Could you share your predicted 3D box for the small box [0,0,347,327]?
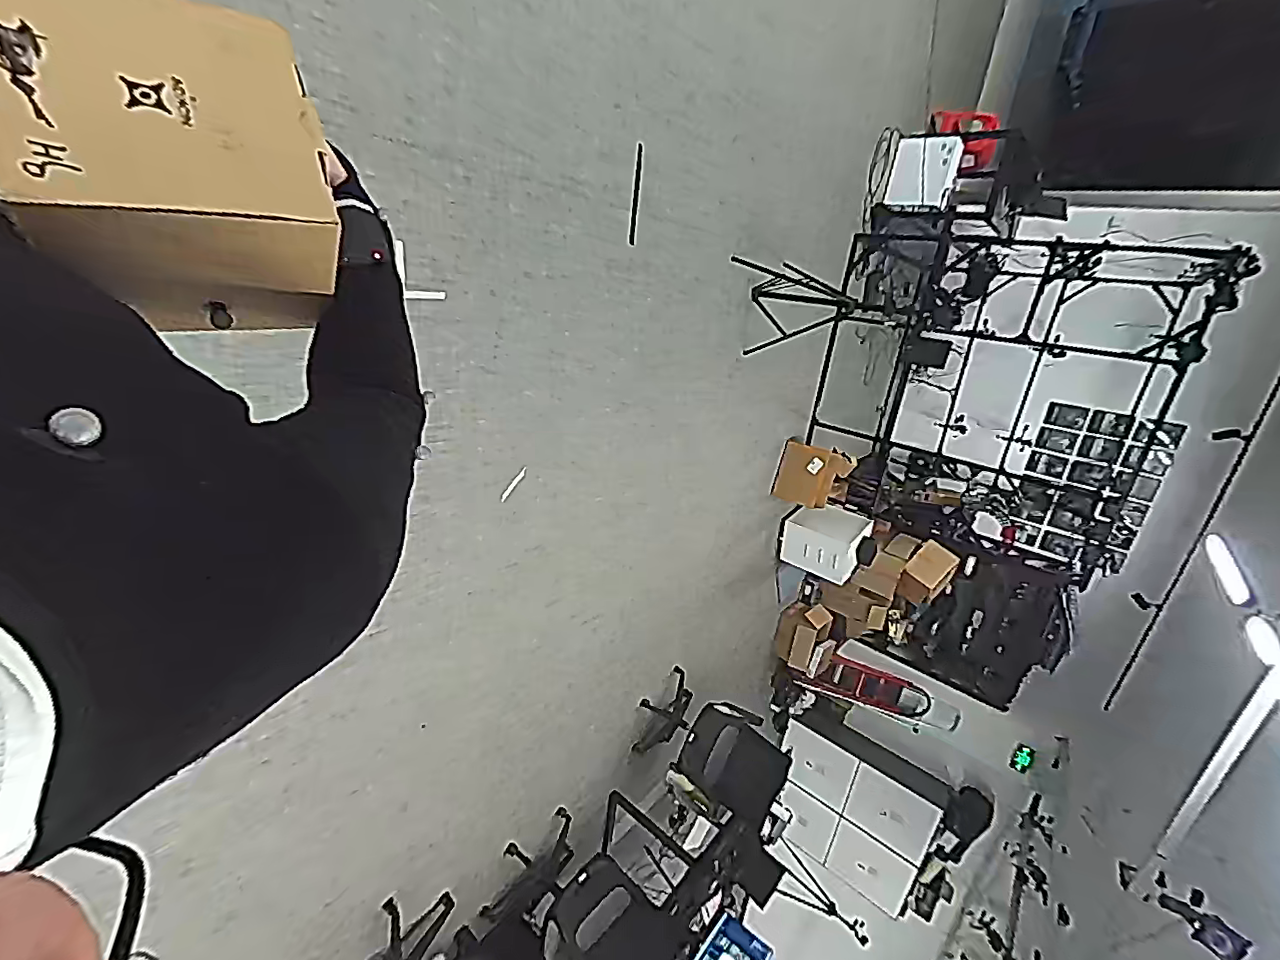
[{"bbox_3d":[-0.361,-0.237,0.441,0.179,0.176,0.168,-13,84,-35],"label":"small box"}]
